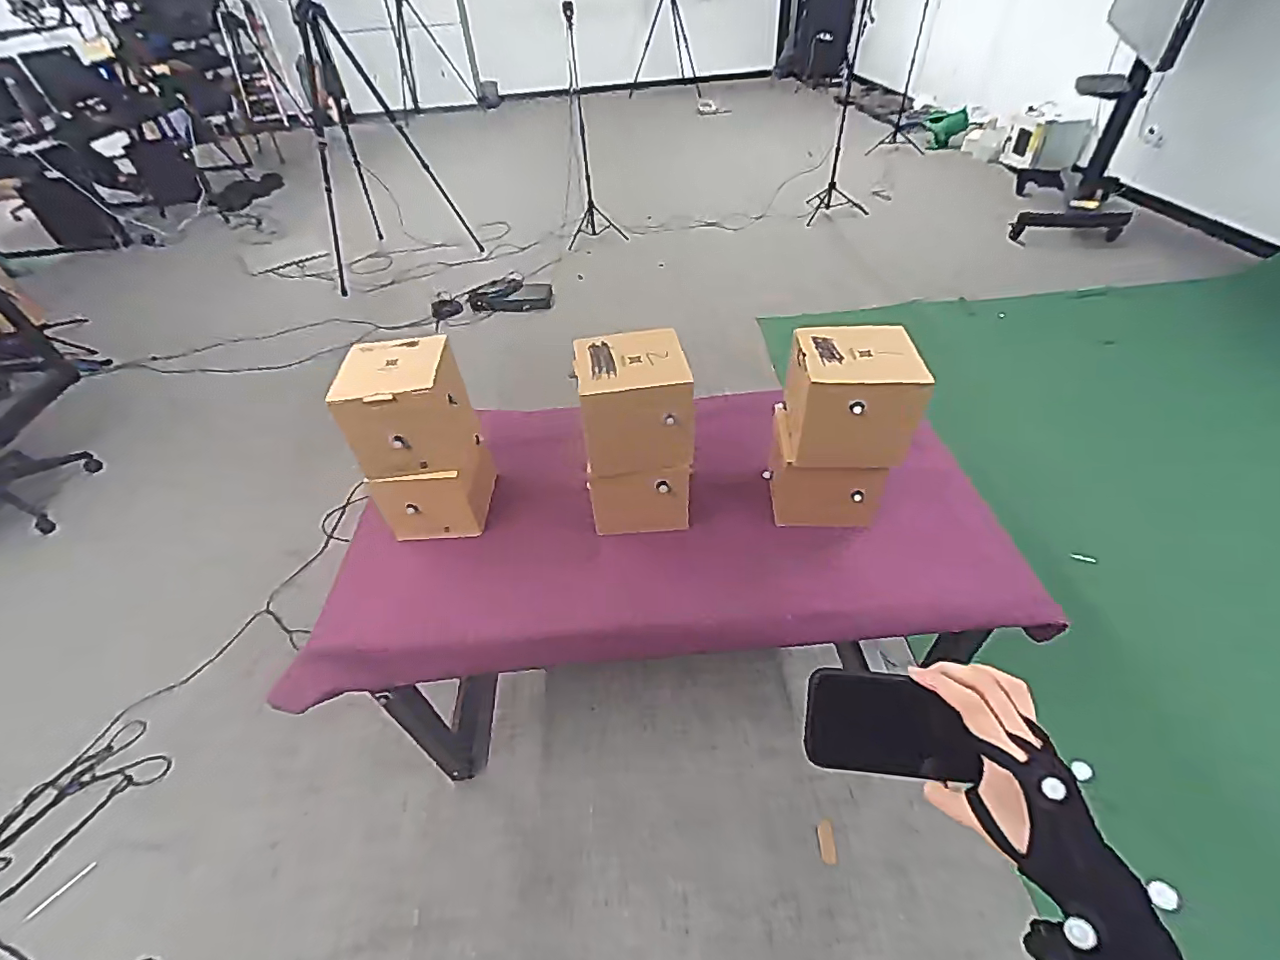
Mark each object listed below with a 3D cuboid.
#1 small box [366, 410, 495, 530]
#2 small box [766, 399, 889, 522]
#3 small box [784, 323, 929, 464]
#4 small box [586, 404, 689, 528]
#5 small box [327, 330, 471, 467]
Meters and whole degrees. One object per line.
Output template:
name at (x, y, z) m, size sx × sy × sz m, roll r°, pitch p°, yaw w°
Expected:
small box at (-0.393, -0.014, 1.051) m, size 0.168 × 0.176 × 0.179 m, roll -3°, pitch 45°, yaw 2°
small box at (0.338, -0.034, 1.010) m, size 0.179 × 0.176 × 0.168 m, roll 0°, pitch 45°, yaw 6°
small box at (0.337, -0.139, 0.884) m, size 0.179 × 0.176 × 0.168 m, roll 1°, pitch 45°, yaw 5°
small box at (-0.003, -0.024, 1.027) m, size 0.179 × 0.176 × 0.168 m, roll -4°, pitch 45°, yaw 1°
small box at (-0.403, -0.136, 0.942) m, size 0.168 × 0.176 × 0.179 m, roll -6°, pitch 46°, yaw -2°
